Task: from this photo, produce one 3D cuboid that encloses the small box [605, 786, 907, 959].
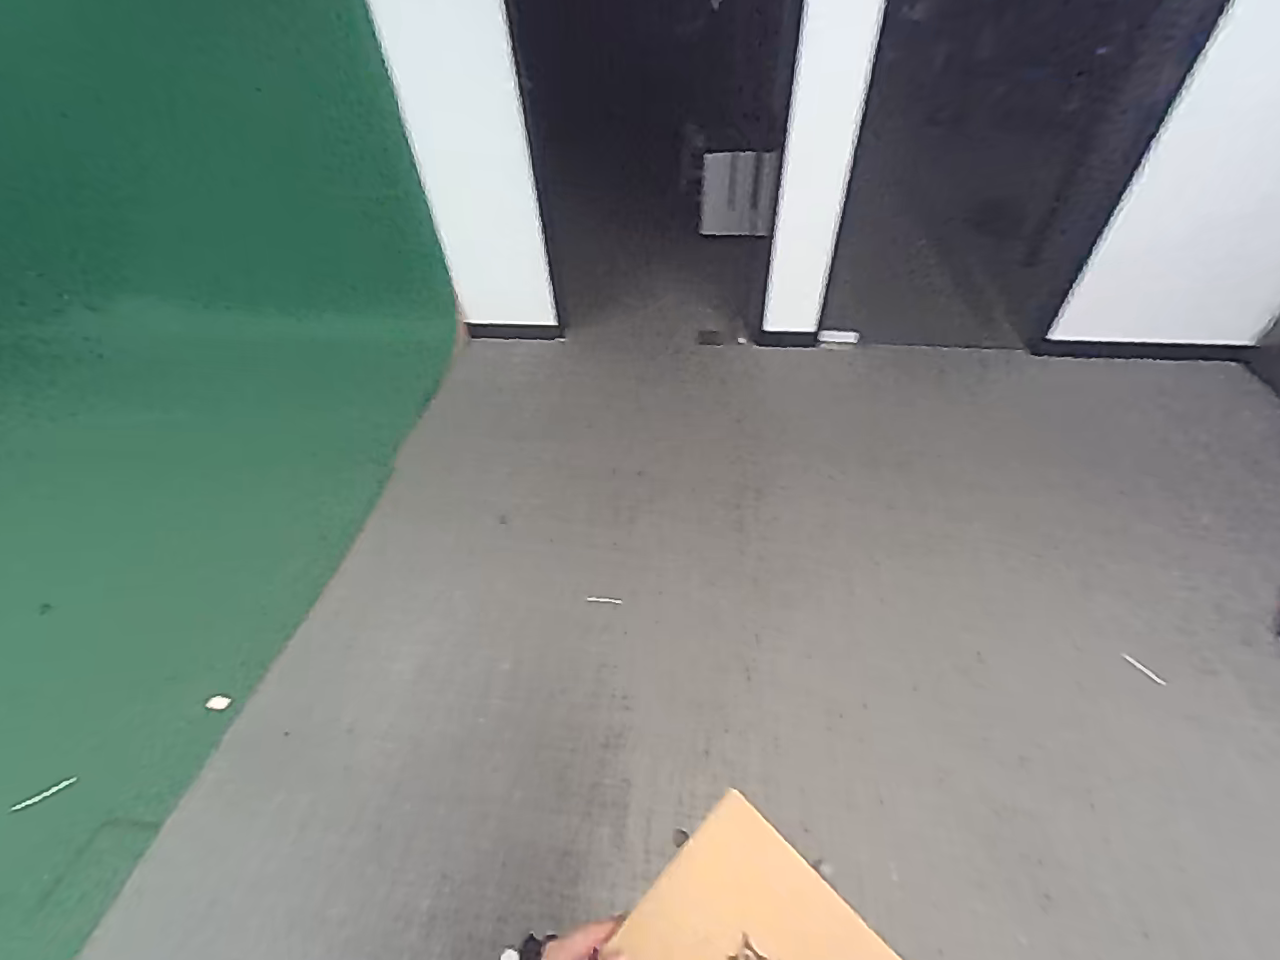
[{"bbox_3d":[0.092,0.411,0.473,0.179,0.176,0.168,38,65,26],"label":"small box"}]
